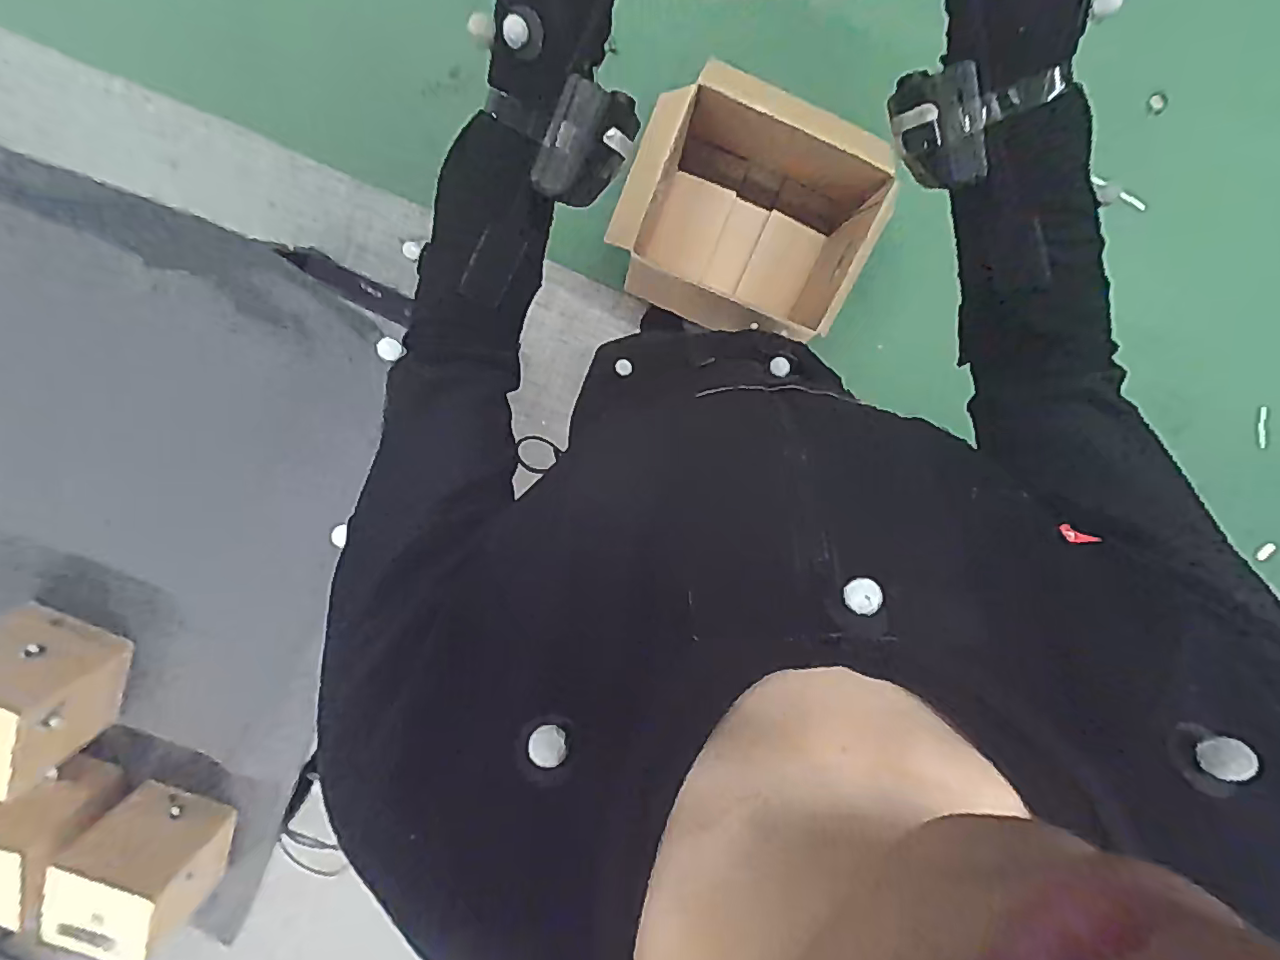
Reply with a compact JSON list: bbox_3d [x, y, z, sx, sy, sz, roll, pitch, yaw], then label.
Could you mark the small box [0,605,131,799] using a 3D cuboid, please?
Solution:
[{"bbox_3d":[-0.925,0.319,0.808,0.168,0.176,0.179,26,107,-5],"label":"small box"}]
